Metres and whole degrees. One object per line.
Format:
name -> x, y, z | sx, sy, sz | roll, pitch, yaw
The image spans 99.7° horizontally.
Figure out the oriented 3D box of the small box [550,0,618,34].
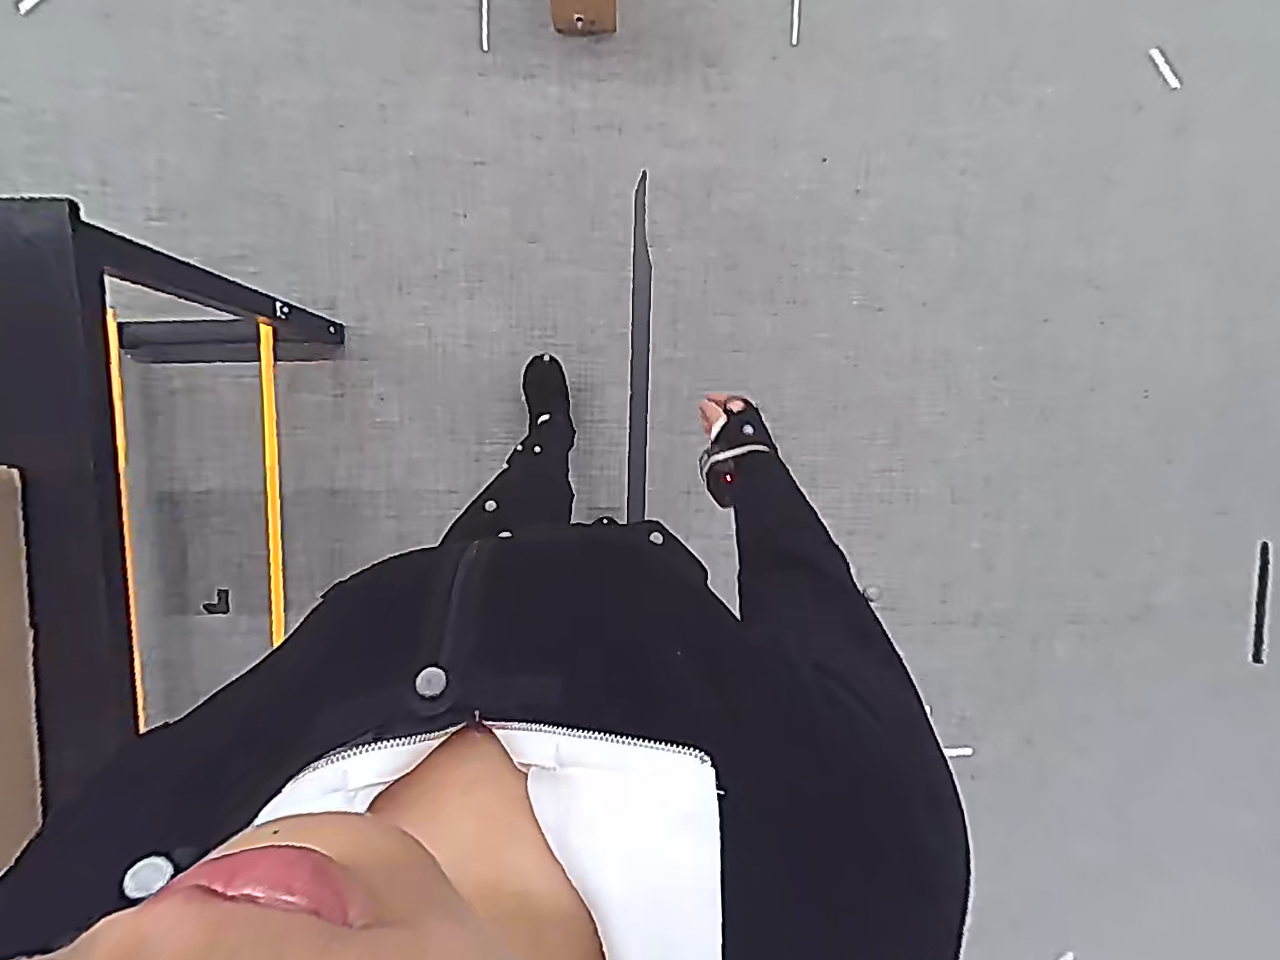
small box -> -0.138, -1.225, 1.298 | 0.168, 0.176, 0.179 | -2, 96, -1
